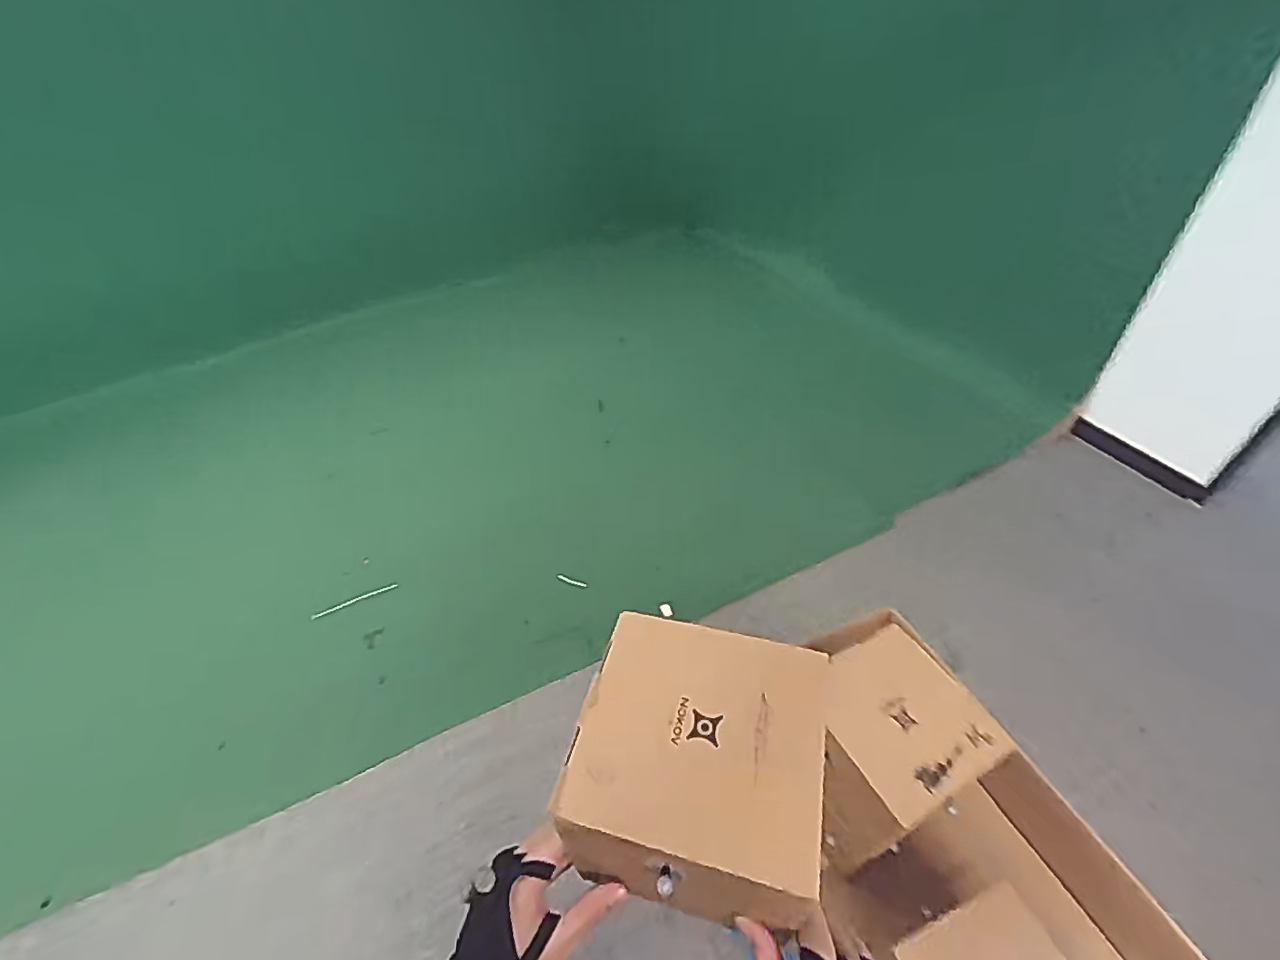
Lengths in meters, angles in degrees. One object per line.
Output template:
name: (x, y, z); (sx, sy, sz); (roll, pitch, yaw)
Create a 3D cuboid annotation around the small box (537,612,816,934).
small box: (0.040, 0.239, 0.447); (0.179, 0.176, 0.168); (9, 44, 14)

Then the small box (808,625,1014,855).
small box: (0.303, 0.324, 0.676); (0.168, 0.176, 0.179); (-24, 48, -15)
